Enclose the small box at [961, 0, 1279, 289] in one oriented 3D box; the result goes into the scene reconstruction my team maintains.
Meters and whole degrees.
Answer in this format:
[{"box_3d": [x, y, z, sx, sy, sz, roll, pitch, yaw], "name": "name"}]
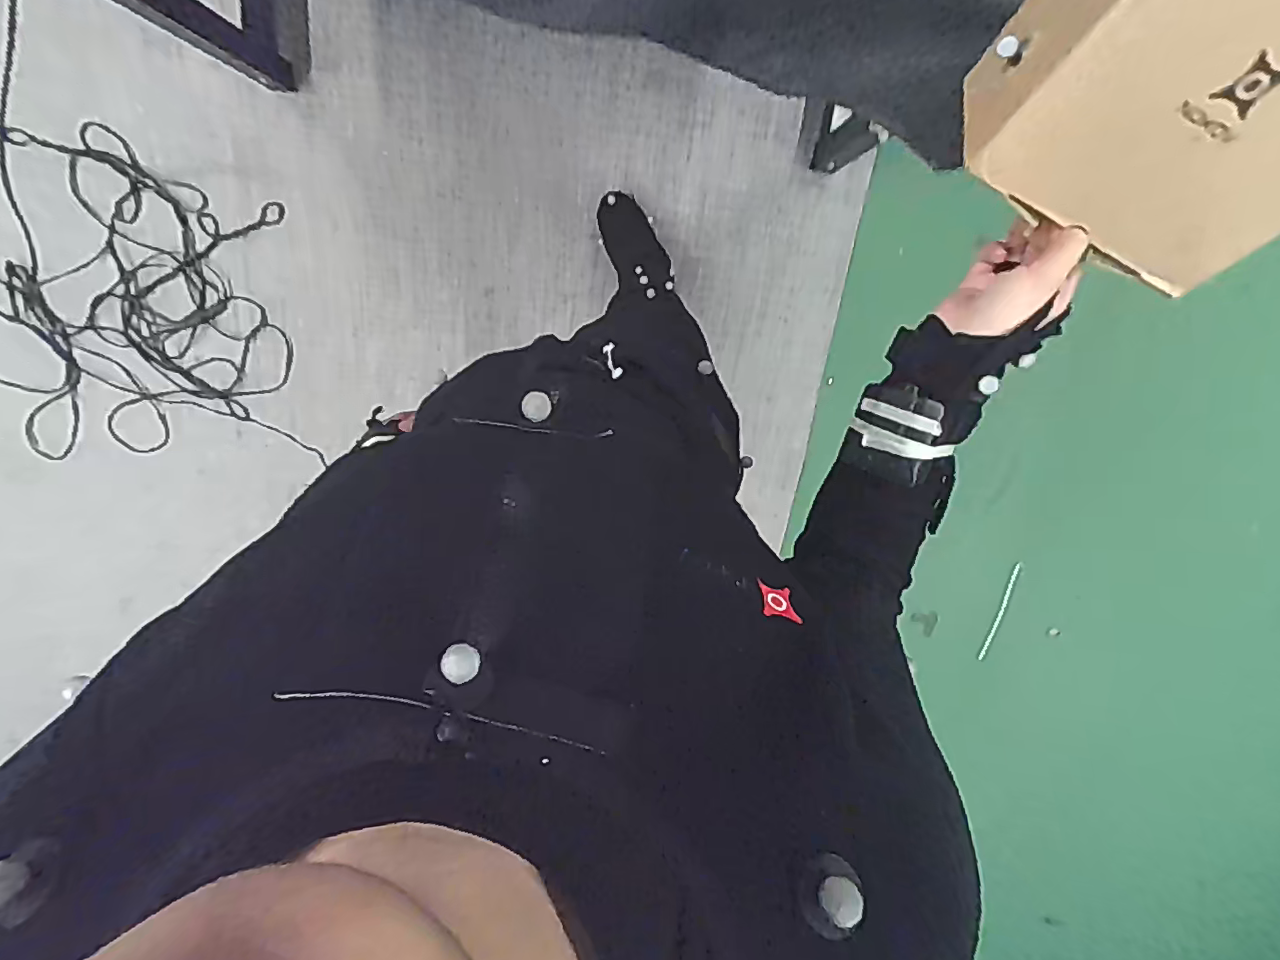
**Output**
[{"box_3d": [0.323, -0.258, 0.316, 0.168, 0.176, 0.179, 25, 144, -5], "name": "small box"}]
